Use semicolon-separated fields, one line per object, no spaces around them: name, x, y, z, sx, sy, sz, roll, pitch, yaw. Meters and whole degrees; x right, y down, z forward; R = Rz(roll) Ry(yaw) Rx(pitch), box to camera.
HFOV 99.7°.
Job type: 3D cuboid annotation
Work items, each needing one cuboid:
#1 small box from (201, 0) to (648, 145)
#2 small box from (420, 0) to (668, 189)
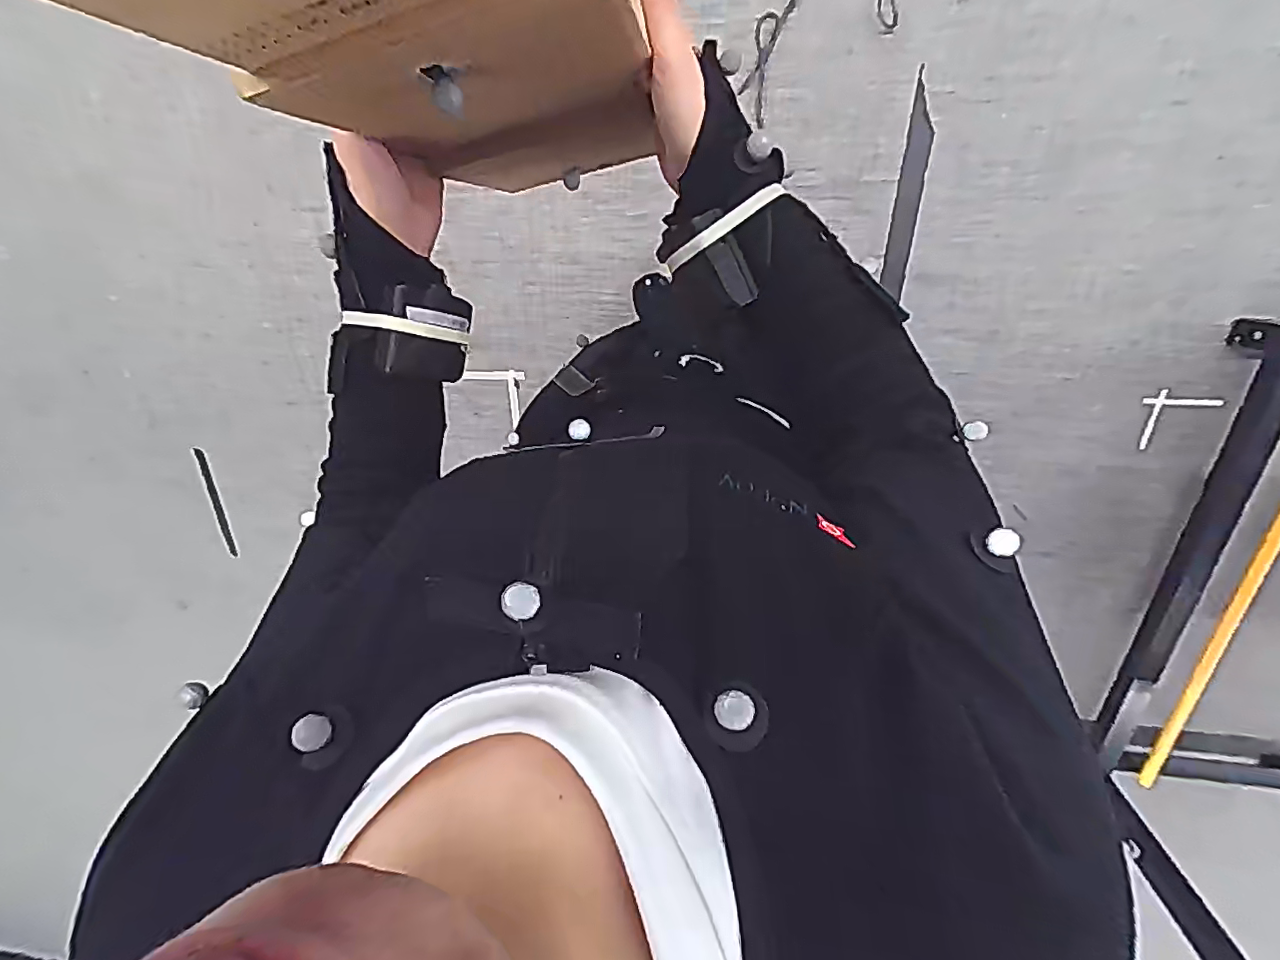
small box;-0.097;-0.285;0.261;0.179;0.176;0.168;-8;112;13
small box;-0.078;-0.341;0.412;0.168;0.176;0.179;-7;113;12
